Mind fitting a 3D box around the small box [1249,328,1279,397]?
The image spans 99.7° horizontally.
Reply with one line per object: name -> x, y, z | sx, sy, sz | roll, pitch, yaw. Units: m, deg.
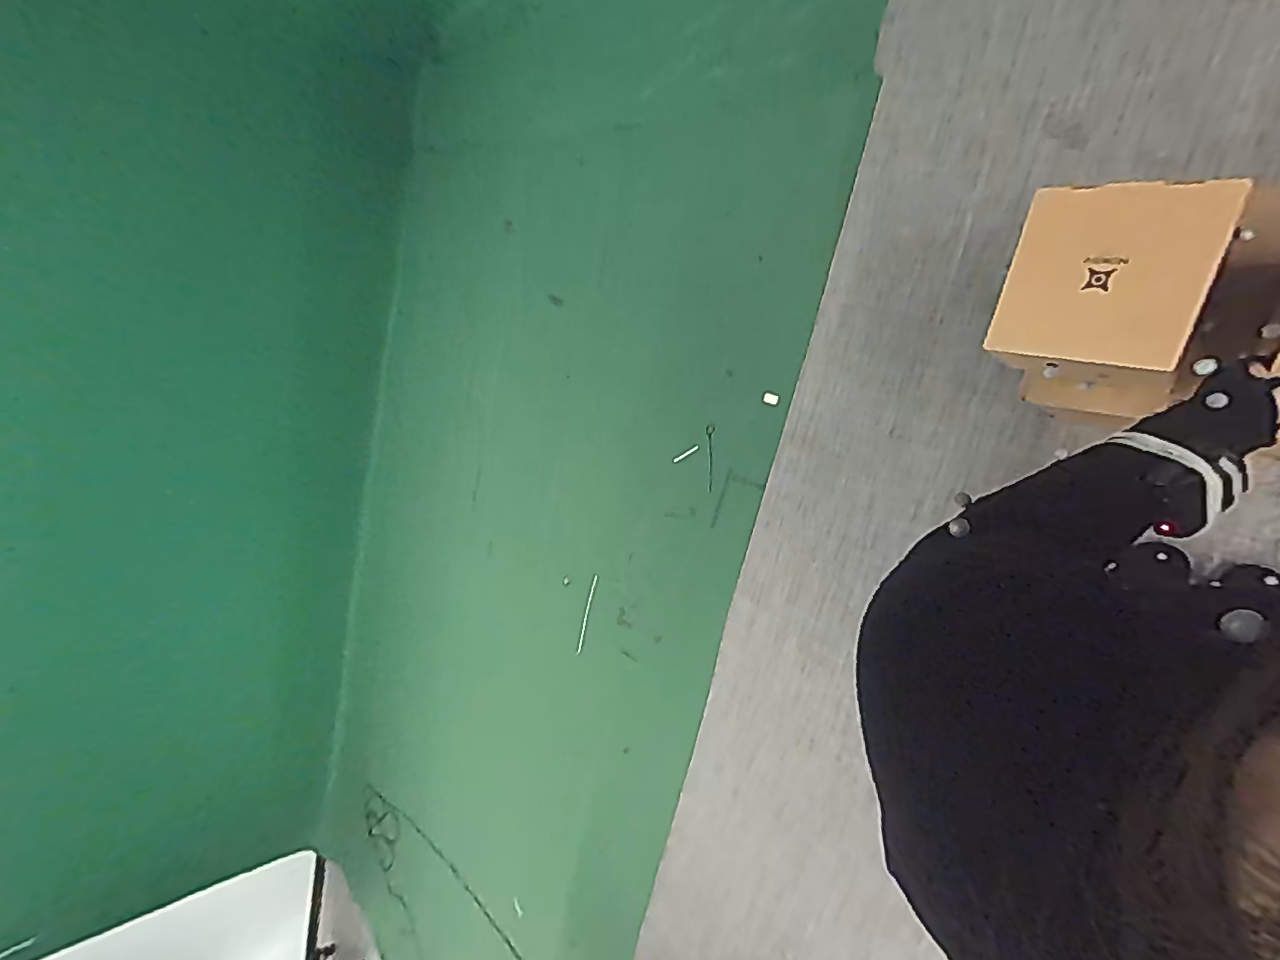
small box -> 0.679, -0.140, 0.459 | 0.168, 0.176, 0.179 | 31, 113, 41

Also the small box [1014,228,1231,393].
small box -> 0.648, -0.227, 0.741 | 0.168, 0.176, 0.179 | 24, 108, 40
